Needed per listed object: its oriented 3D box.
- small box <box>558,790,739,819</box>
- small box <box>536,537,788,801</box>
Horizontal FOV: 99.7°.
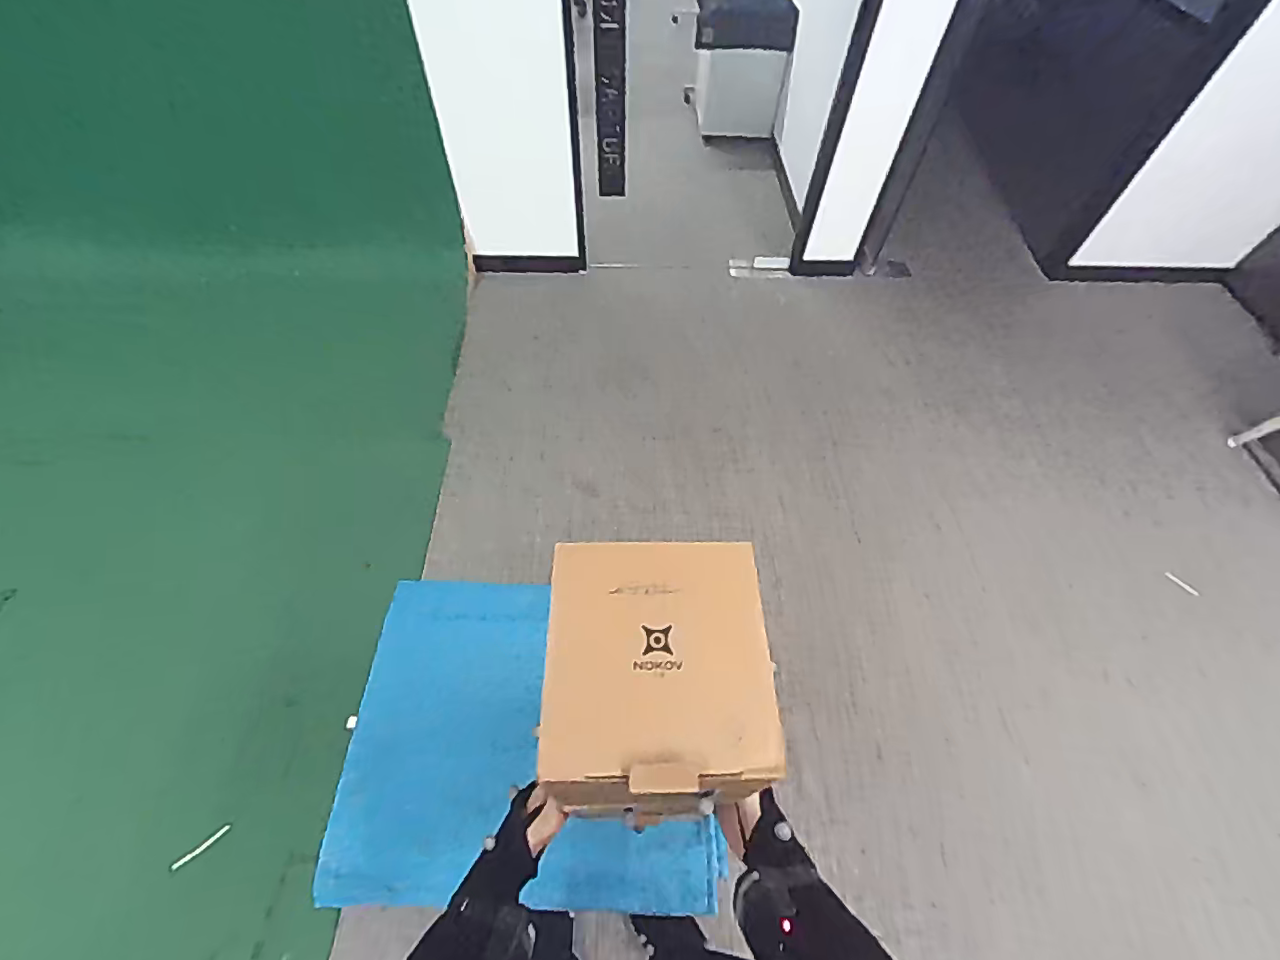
[{"bbox_3d":[0.004,0.261,0.588,0.168,0.176,0.179,-2,54,-4],"label":"small box"},{"bbox_3d":[0.012,0.165,0.457,0.168,0.176,0.179,1,53,-3],"label":"small box"}]
